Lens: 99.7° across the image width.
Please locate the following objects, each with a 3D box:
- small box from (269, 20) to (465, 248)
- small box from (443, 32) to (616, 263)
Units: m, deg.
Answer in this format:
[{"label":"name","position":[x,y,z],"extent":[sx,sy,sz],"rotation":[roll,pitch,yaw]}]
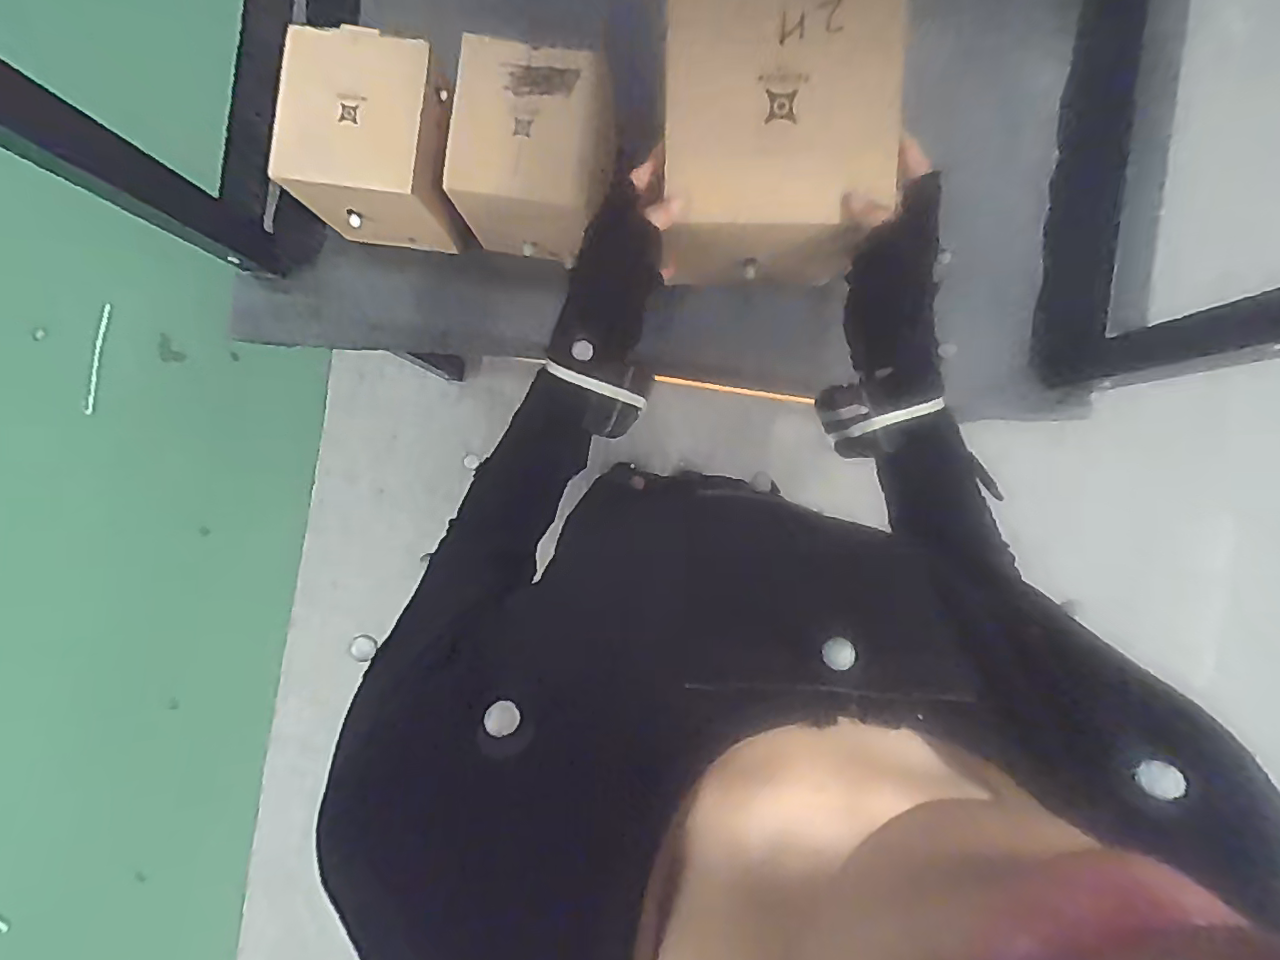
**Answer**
[{"label":"small box","position":[-0.321,-0.415,0.680],"extent":[0.168,0.176,0.179],"rotation":[7,90,0]},{"label":"small box","position":[-0.125,-0.400,0.678],"extent":[0.168,0.176,0.179],"rotation":[8,91,2]}]
